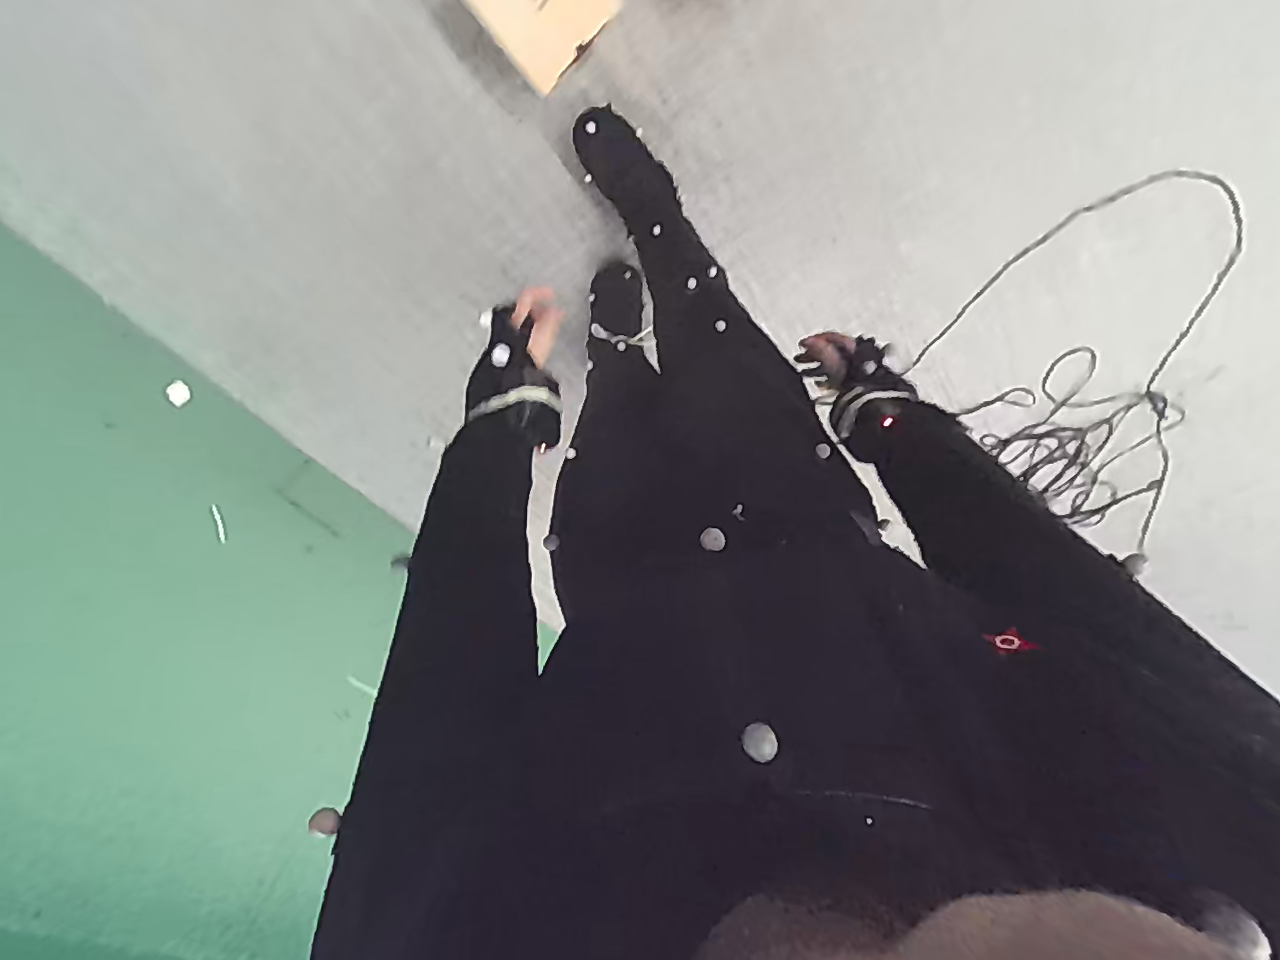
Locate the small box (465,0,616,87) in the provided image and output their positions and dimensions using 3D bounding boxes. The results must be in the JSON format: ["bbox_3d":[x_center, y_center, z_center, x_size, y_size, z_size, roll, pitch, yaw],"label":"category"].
[{"bbox_3d":[-0.156,-0.713,0.789,0.168,0.176,0.179,-38,122,18],"label":"small box"}]
